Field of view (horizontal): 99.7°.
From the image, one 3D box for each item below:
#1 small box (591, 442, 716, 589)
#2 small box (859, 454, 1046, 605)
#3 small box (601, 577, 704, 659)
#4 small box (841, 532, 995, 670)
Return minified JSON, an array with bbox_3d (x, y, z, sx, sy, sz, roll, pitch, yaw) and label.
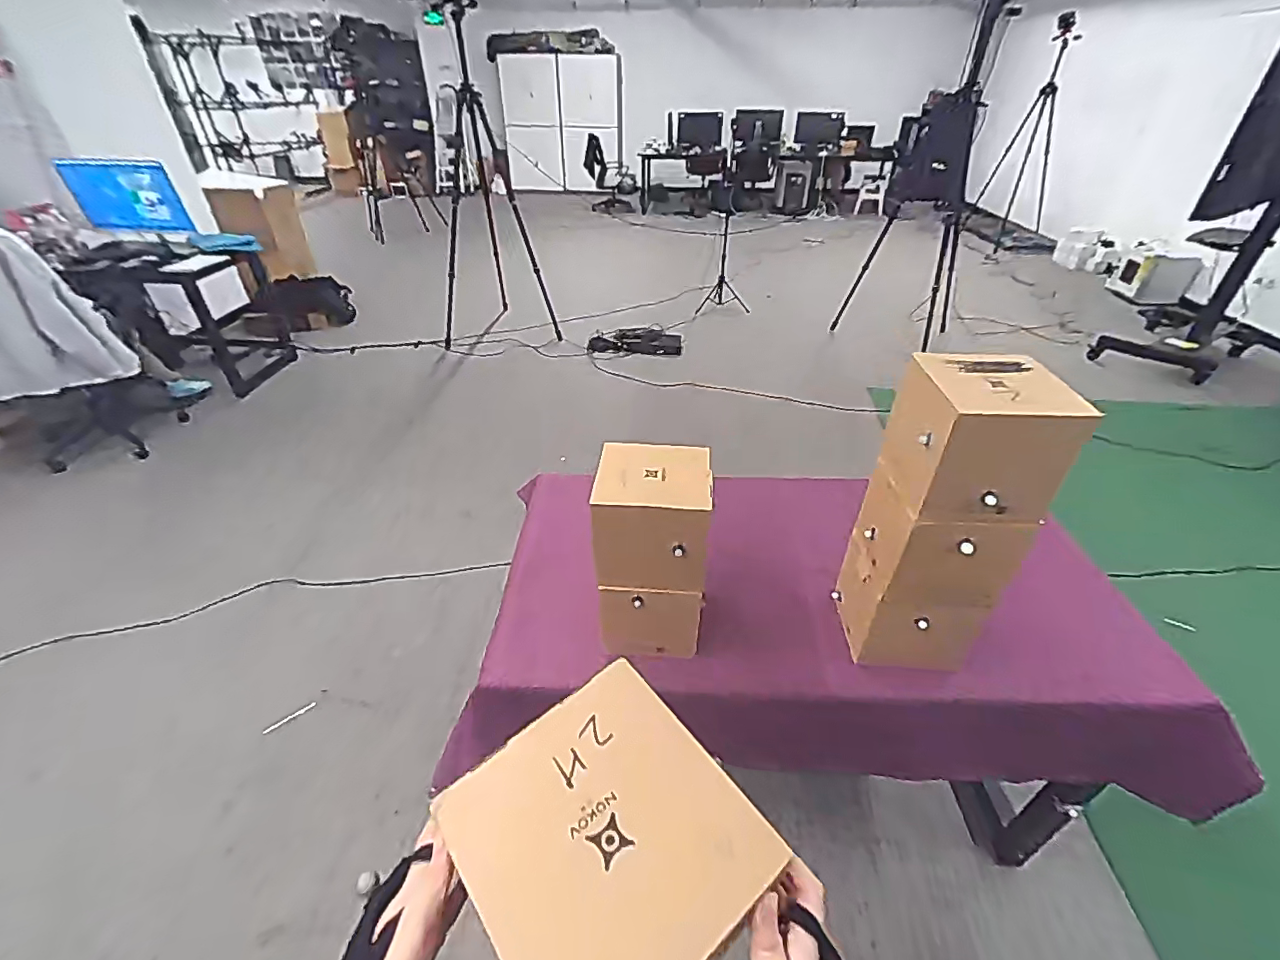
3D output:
[{"bbox_3d":[0.026,0.057,0.863,0.179,0.176,0.168,3,36,5],"label":"small box"},{"bbox_3d":[0.463,0.077,0.836,0.179,0.176,0.168,1,37,3],"label":"small box"},{"bbox_3d":[0.025,0.189,0.960,0.168,0.176,0.179,2,36,4],"label":"small box"},{"bbox_3d":[0.460,0.208,0.933,0.179,0.176,0.168,3,37,3],"label":"small box"}]
